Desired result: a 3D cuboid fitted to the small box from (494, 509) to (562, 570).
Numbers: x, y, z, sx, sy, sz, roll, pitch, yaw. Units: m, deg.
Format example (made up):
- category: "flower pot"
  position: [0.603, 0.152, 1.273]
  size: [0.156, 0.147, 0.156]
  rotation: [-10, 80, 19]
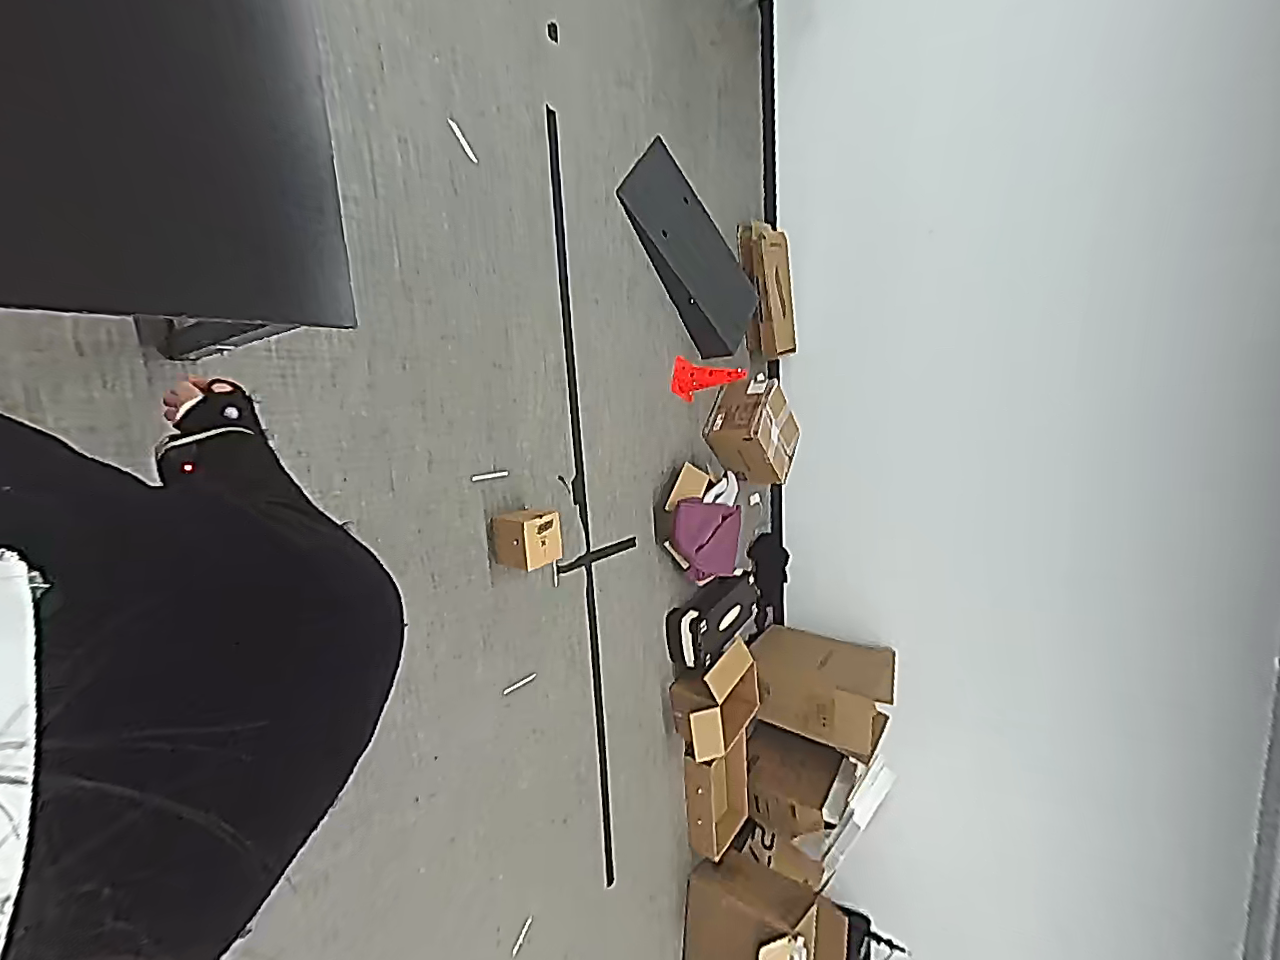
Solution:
- category: "small box"
  position: [-0.400, 0.203, 1.914]
  size: [0.168, 0.176, 0.179]
  rotation: [-16, 106, -51]
